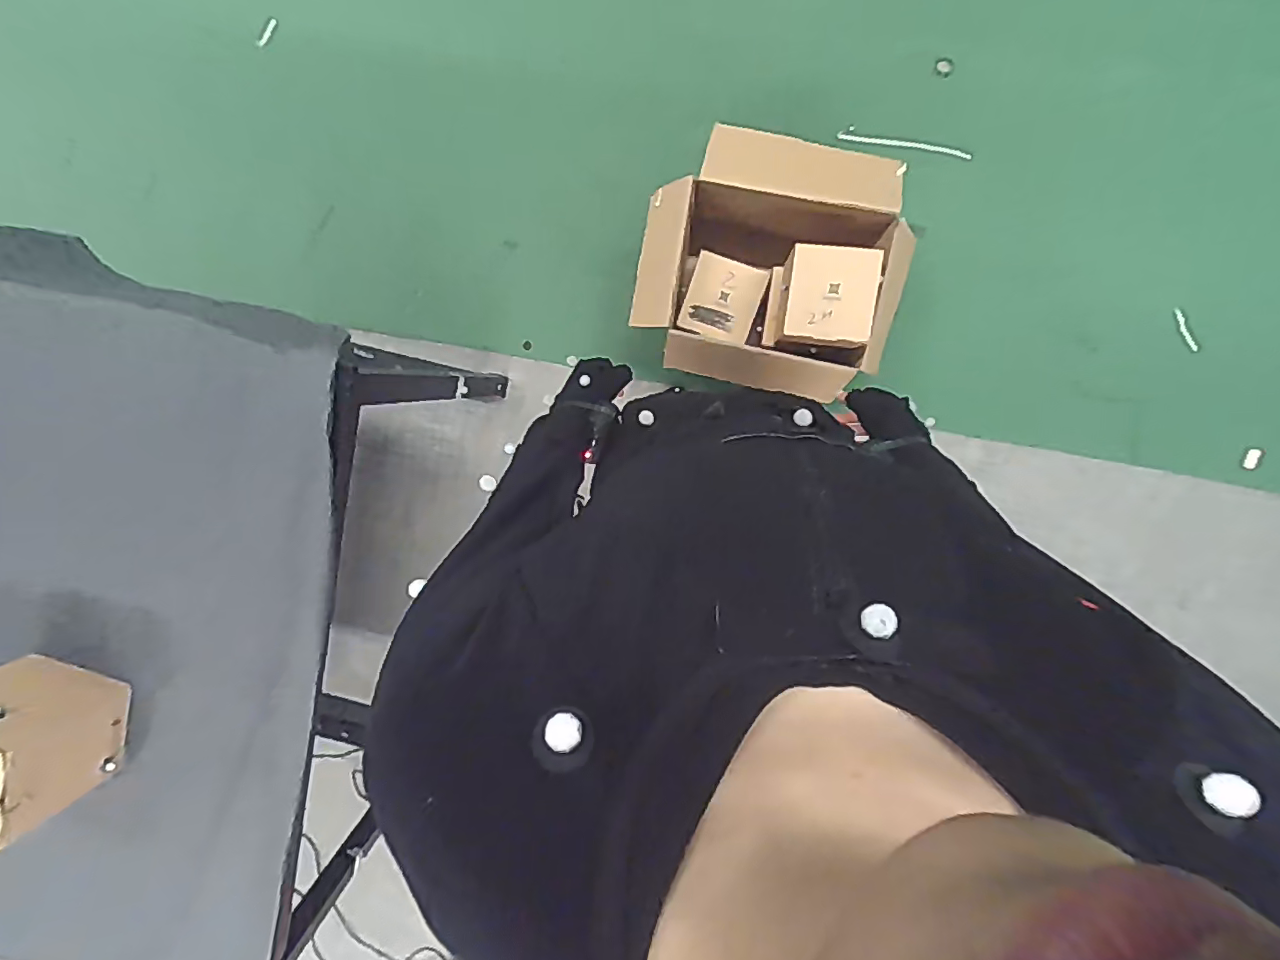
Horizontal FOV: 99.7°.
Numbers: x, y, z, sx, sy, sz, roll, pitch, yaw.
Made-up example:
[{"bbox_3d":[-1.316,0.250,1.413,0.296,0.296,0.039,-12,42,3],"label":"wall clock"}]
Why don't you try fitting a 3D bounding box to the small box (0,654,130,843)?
[{"bbox_3d":[-0.928,0.388,0.811,0.179,0.176,0.168,17,101,2],"label":"small box"}]
